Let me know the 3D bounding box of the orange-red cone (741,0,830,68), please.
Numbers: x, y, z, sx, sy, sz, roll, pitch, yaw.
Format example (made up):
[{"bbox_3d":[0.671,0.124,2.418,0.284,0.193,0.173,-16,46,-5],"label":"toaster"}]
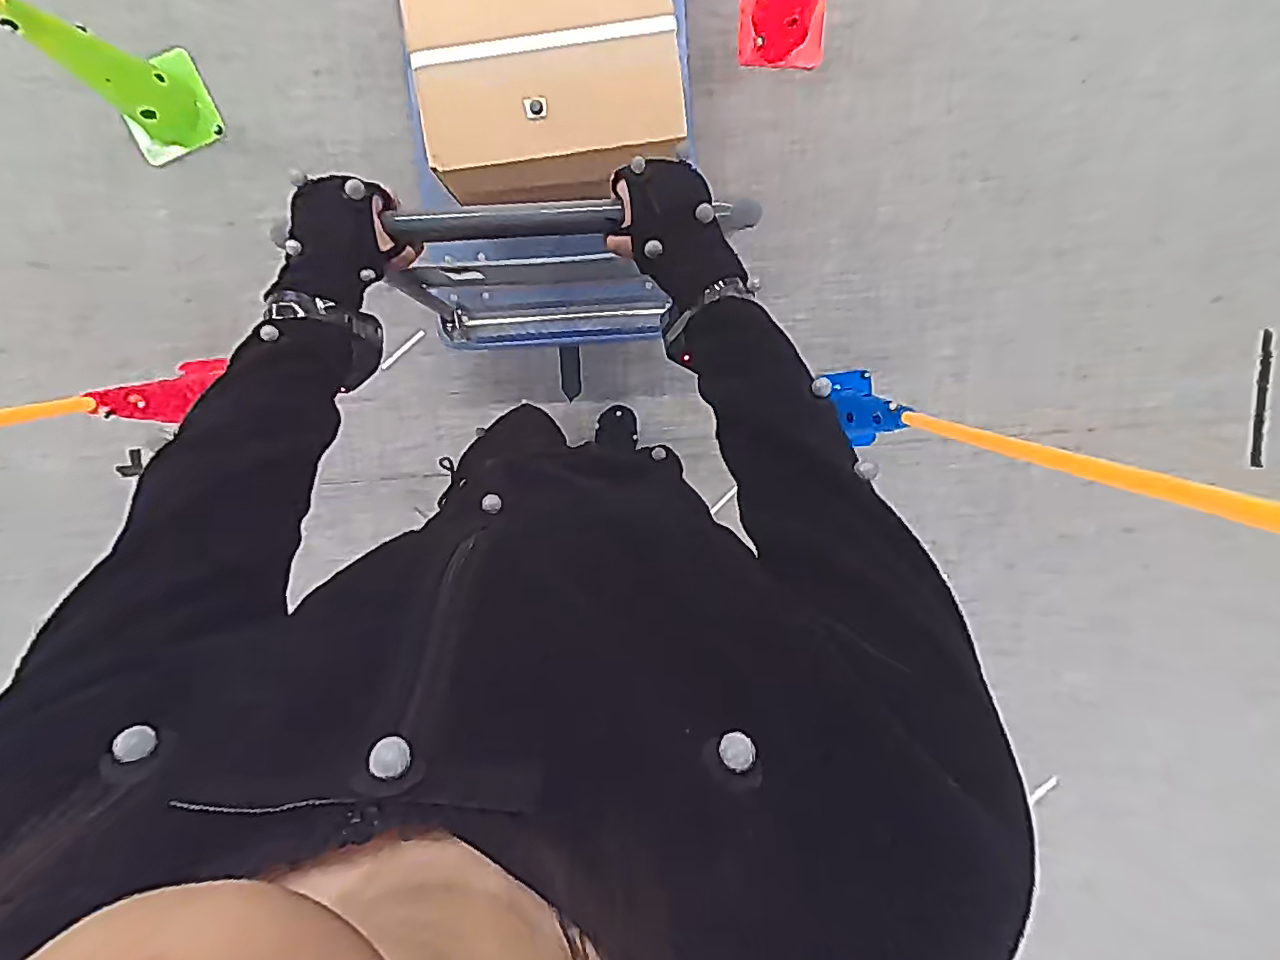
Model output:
[{"bbox_3d":[0.348,-1.041,1.082,0.199,0.360,0.198,3,100,-4],"label":"orange-red cone"}]
